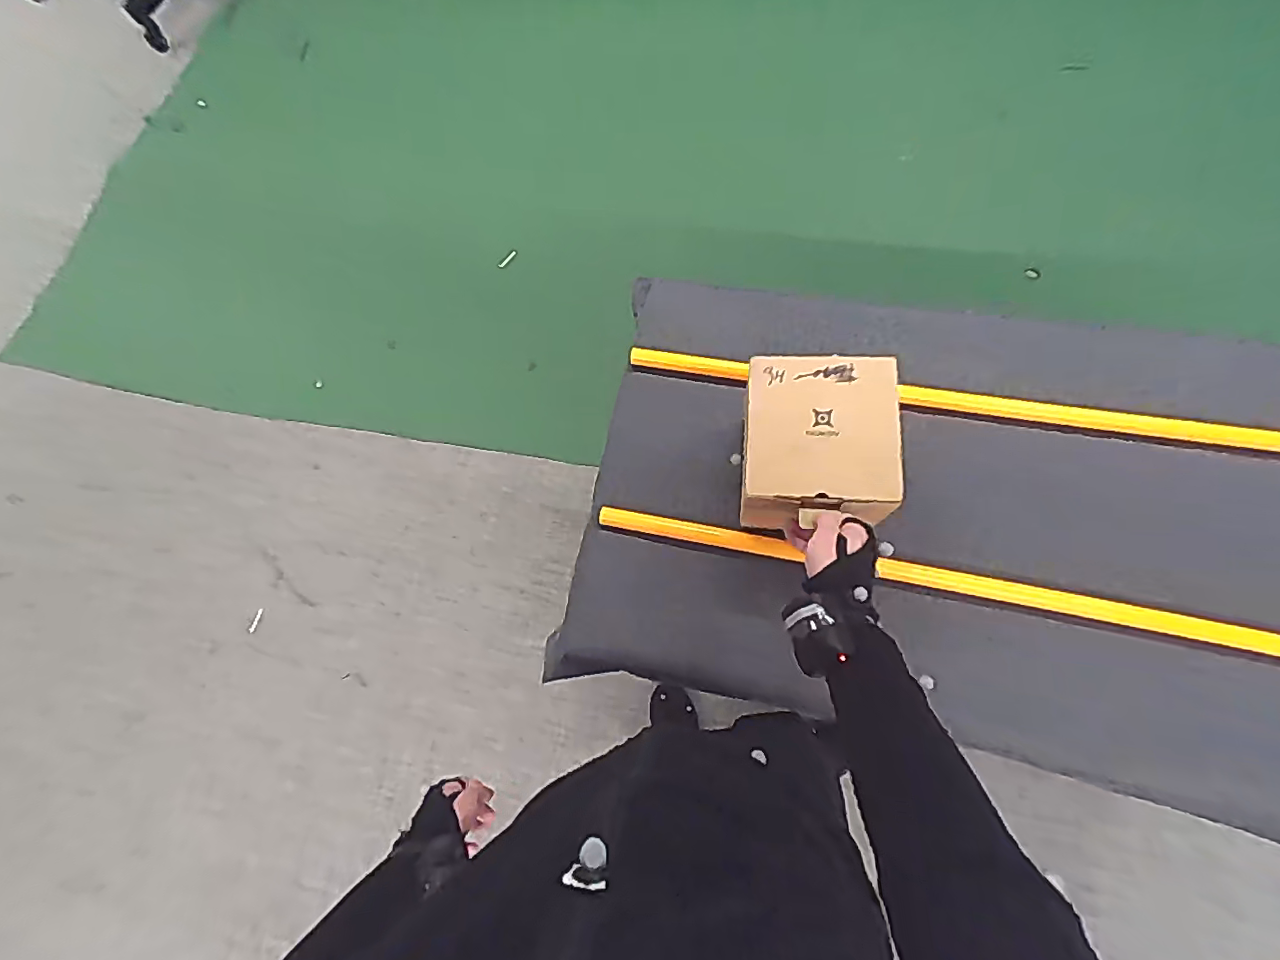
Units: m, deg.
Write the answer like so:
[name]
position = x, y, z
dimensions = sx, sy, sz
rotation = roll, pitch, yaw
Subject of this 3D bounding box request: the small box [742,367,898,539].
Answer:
[small box]
position = 0.218, -0.023, 0.693
dimensions = 0.168, 0.176, 0.179
rotation = -2, 71, 11
